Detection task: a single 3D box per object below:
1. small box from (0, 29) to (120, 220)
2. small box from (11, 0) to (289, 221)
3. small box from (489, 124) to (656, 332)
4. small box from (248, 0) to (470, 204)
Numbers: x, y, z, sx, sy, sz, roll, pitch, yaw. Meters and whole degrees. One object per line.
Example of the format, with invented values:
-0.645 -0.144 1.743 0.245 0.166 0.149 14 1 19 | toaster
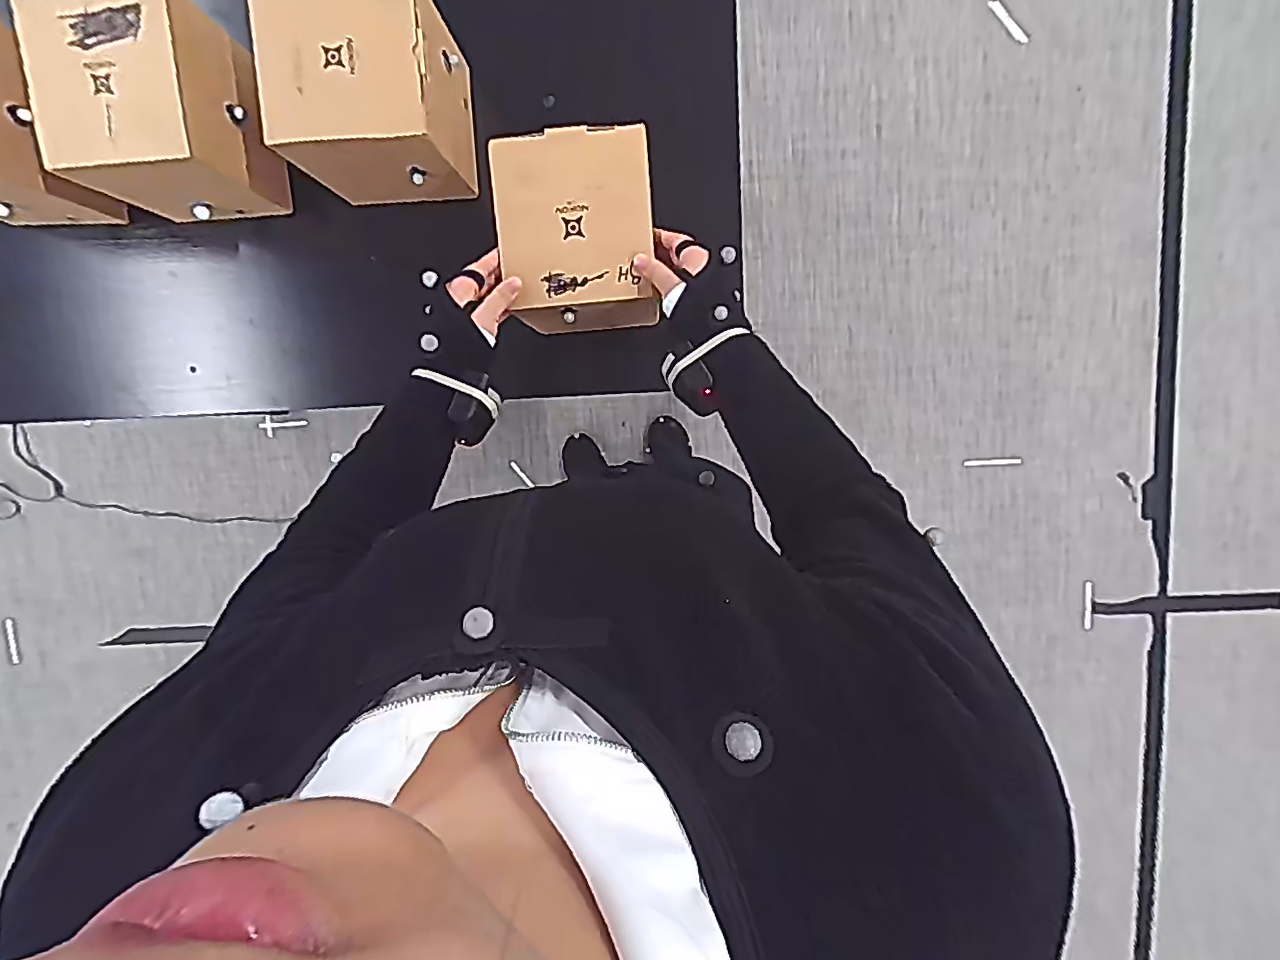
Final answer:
-0.782 -0.427 0.649 0.168 0.176 0.179 0 97 1 | small box
-0.558 -0.431 0.642 0.168 0.176 0.179 -4 98 1 | small box
-0.069 -0.285 0.647 0.168 0.176 0.179 -4 97 3 | small box
-0.310 -0.445 0.637 0.179 0.176 0.168 -2 95 3 | small box
